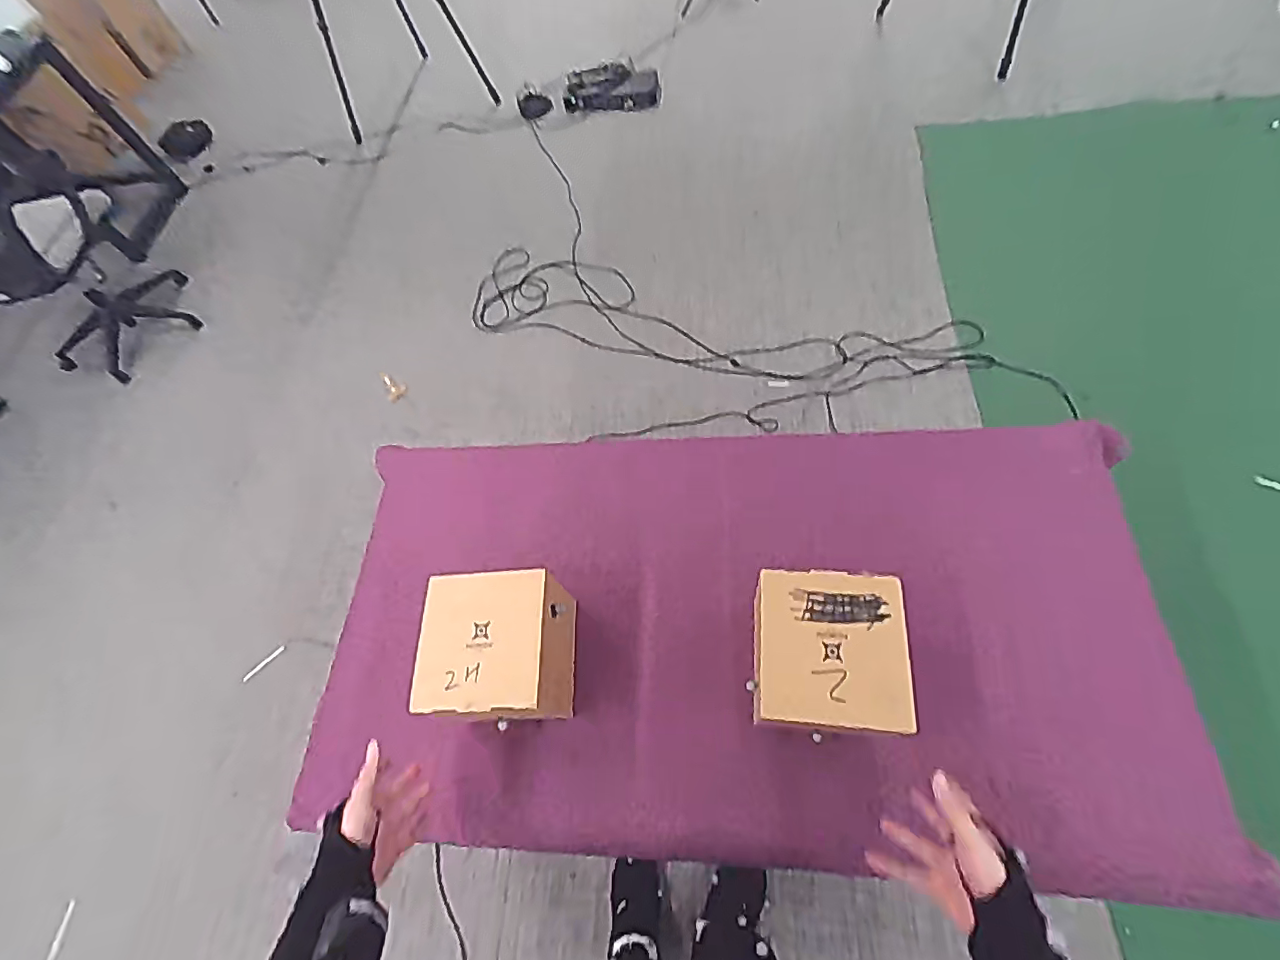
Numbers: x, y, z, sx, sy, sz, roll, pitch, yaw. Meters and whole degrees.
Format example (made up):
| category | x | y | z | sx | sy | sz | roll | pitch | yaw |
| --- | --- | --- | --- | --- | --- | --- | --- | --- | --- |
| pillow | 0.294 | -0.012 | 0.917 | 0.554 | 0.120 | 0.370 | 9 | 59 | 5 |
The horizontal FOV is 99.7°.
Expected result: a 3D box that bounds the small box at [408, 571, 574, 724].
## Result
| category | x | y | z | sx | sy | sz | roll | pitch | yaw |
| --- | --- | --- | --- | --- | --- | --- | --- | --- | --- |
| small box | -0.195 | 0.242 | 0.765 | 0.168 | 0.176 | 0.179 | -5 | 61 | 7 |
